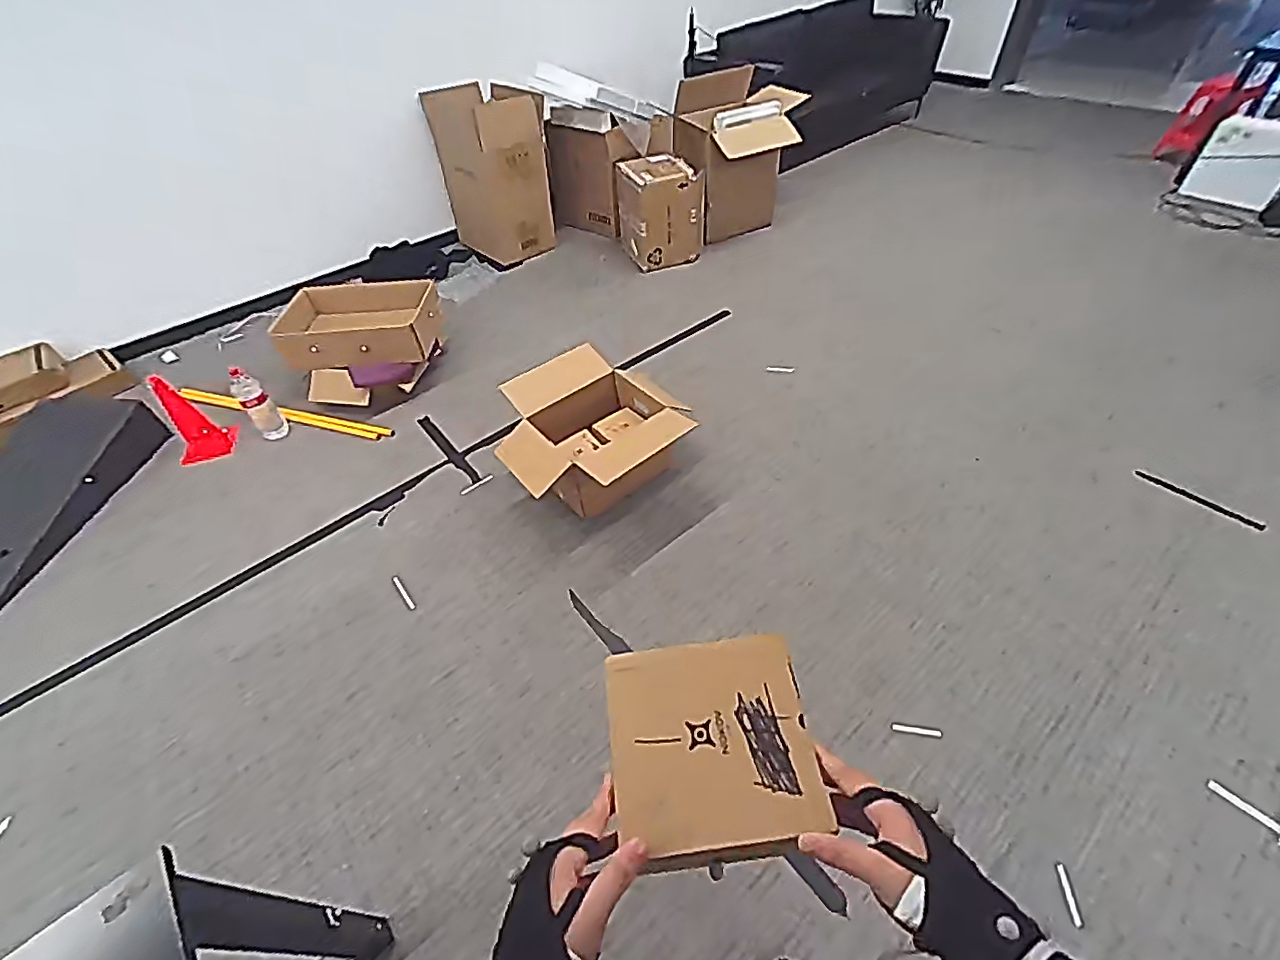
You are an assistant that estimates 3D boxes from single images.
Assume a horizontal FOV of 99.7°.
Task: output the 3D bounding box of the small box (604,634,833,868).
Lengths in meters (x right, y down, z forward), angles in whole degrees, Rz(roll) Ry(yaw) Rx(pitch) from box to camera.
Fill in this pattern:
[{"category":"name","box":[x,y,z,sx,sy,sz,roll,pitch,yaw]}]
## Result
[{"category":"small box","box":[0.062,0.269,0.533,0.179,0.176,0.168,-7,51,-2]}]
